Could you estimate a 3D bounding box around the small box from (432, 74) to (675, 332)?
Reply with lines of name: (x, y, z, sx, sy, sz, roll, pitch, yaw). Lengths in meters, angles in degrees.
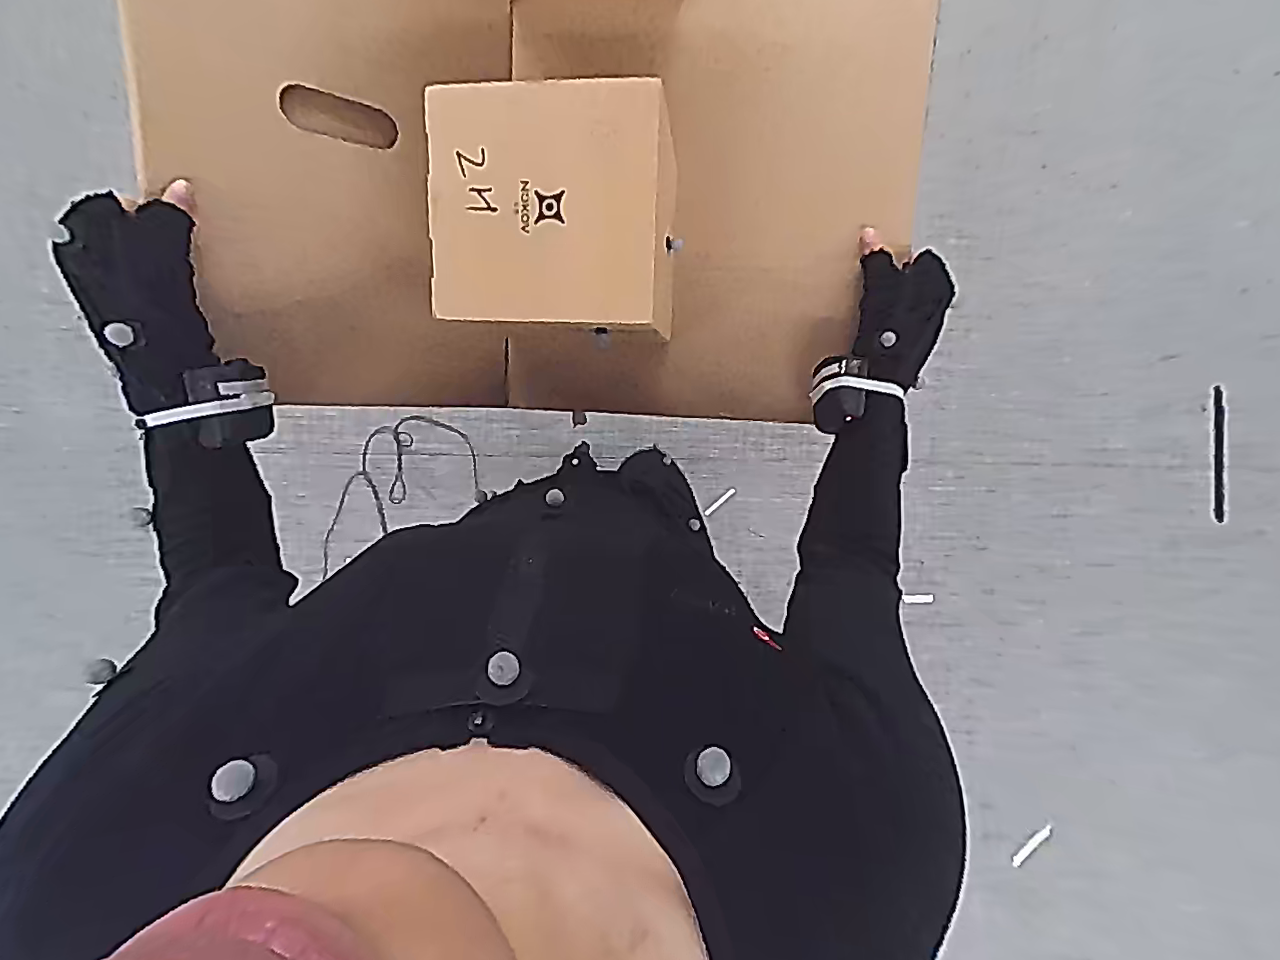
small box: (-0.062, -0.227, 0.483, 0.179, 0.176, 0.168, 4, 100, 8)
